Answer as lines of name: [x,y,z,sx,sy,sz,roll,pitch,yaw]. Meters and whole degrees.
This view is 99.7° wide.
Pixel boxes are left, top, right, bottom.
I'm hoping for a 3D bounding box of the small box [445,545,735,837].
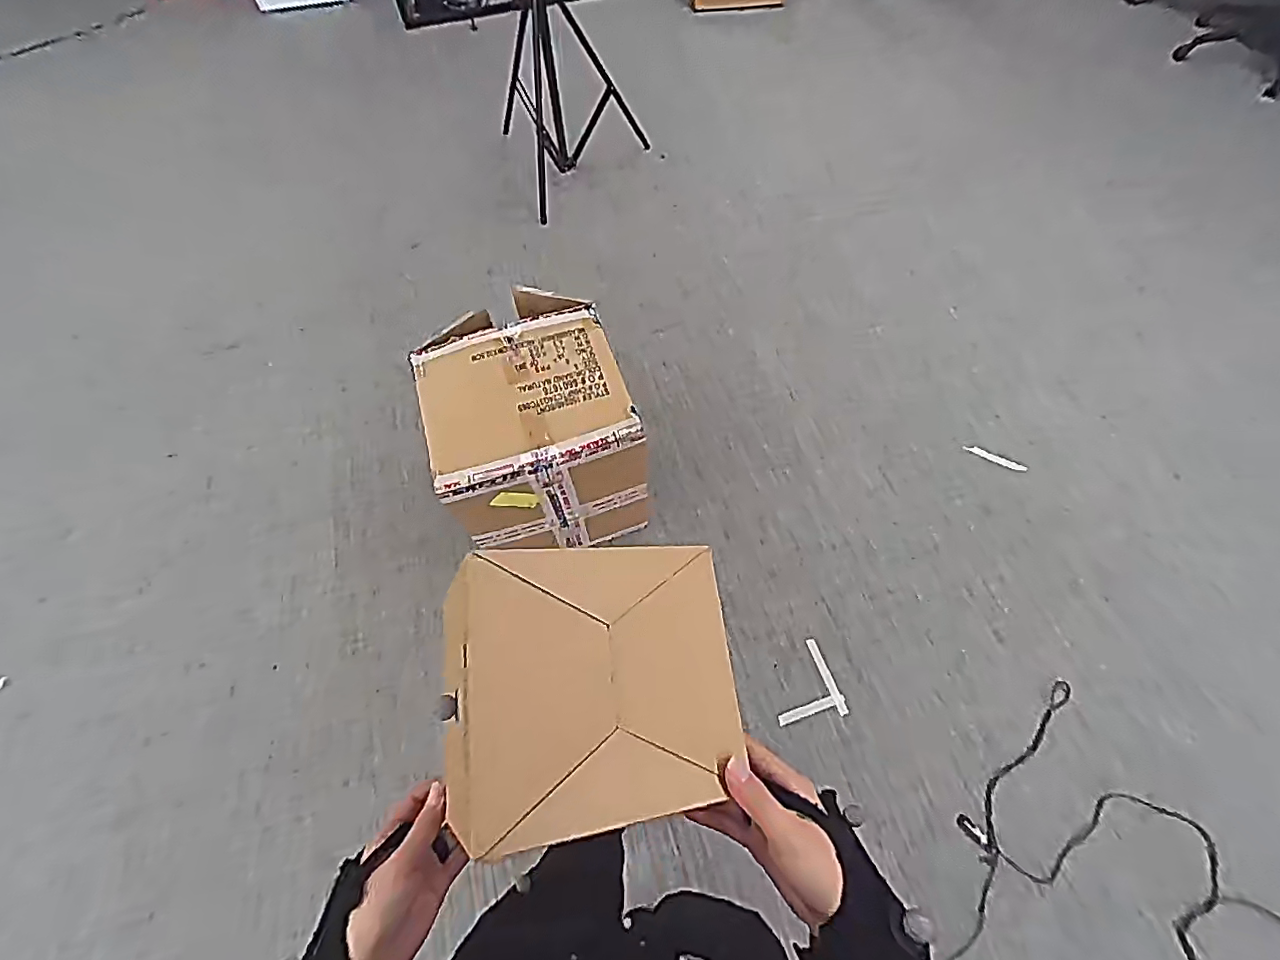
small box: [-0.050,0.151,0.415,0.179,0.176,0.168,3,67,-25]
